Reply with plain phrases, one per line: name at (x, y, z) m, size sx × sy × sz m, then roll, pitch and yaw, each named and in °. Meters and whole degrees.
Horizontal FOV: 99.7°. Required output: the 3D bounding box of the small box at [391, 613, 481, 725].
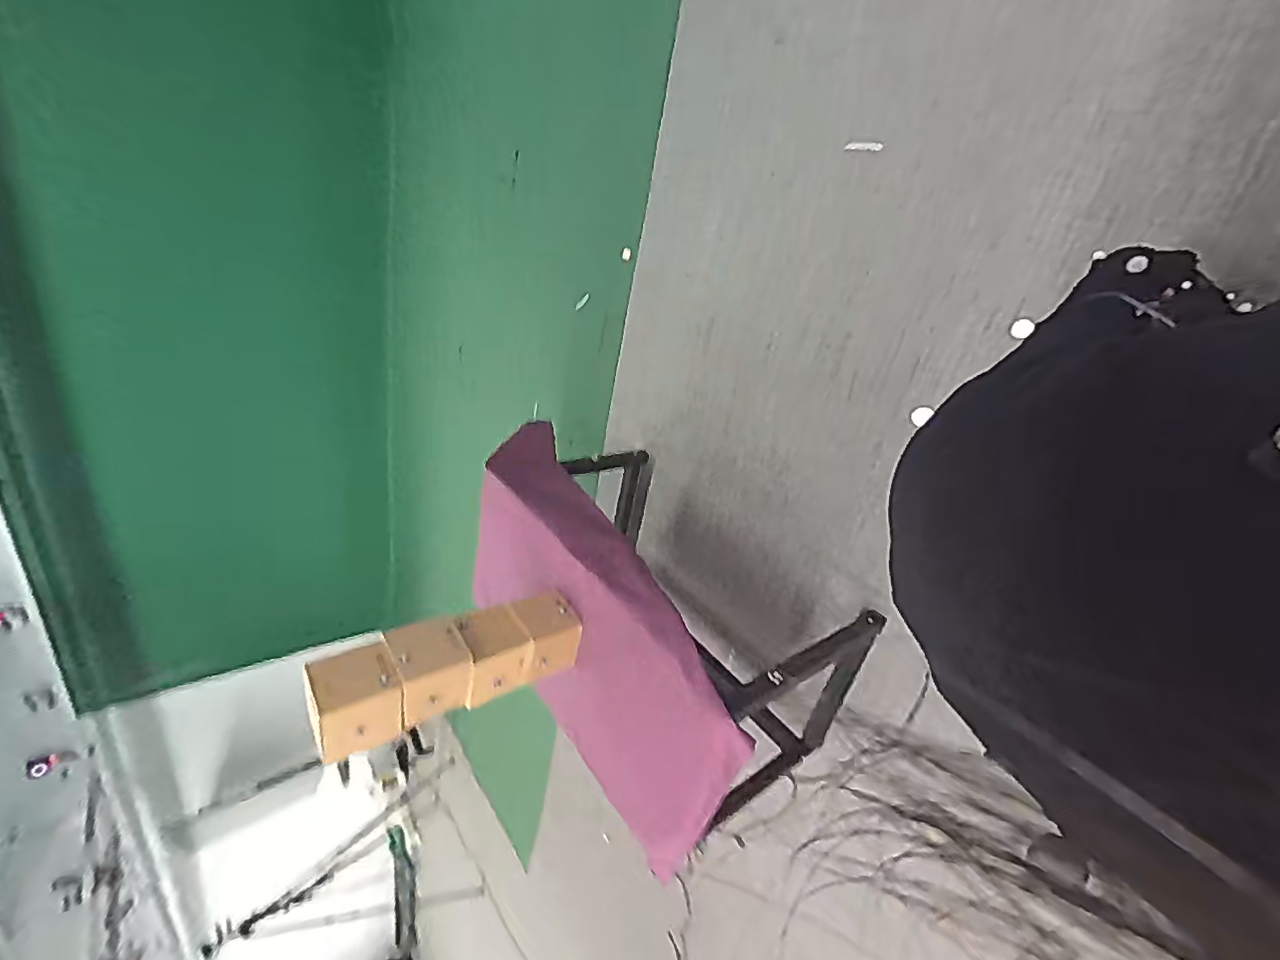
small box at (-0.512, 0.467, 1.356) m, size 0.168 × 0.176 × 0.179 m, roll 42°, pitch 130°, yaw 36°

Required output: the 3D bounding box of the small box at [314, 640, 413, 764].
small box at (-0.640, 0.506, 1.259) m, size 0.168 × 0.176 × 0.179 m, roll 39°, pitch 128°, yaw 39°

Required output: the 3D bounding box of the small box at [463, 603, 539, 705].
small box at (-0.391, 0.463, 1.469) m, size 0.179 × 0.176 × 0.168 m, roll 40°, pitch 127°, yaw 38°

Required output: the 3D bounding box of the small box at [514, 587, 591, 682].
small box at (-0.262, 0.441, 1.564) m, size 0.168 × 0.176 × 0.179 m, roll 41°, pitch 127°, yaw 37°
